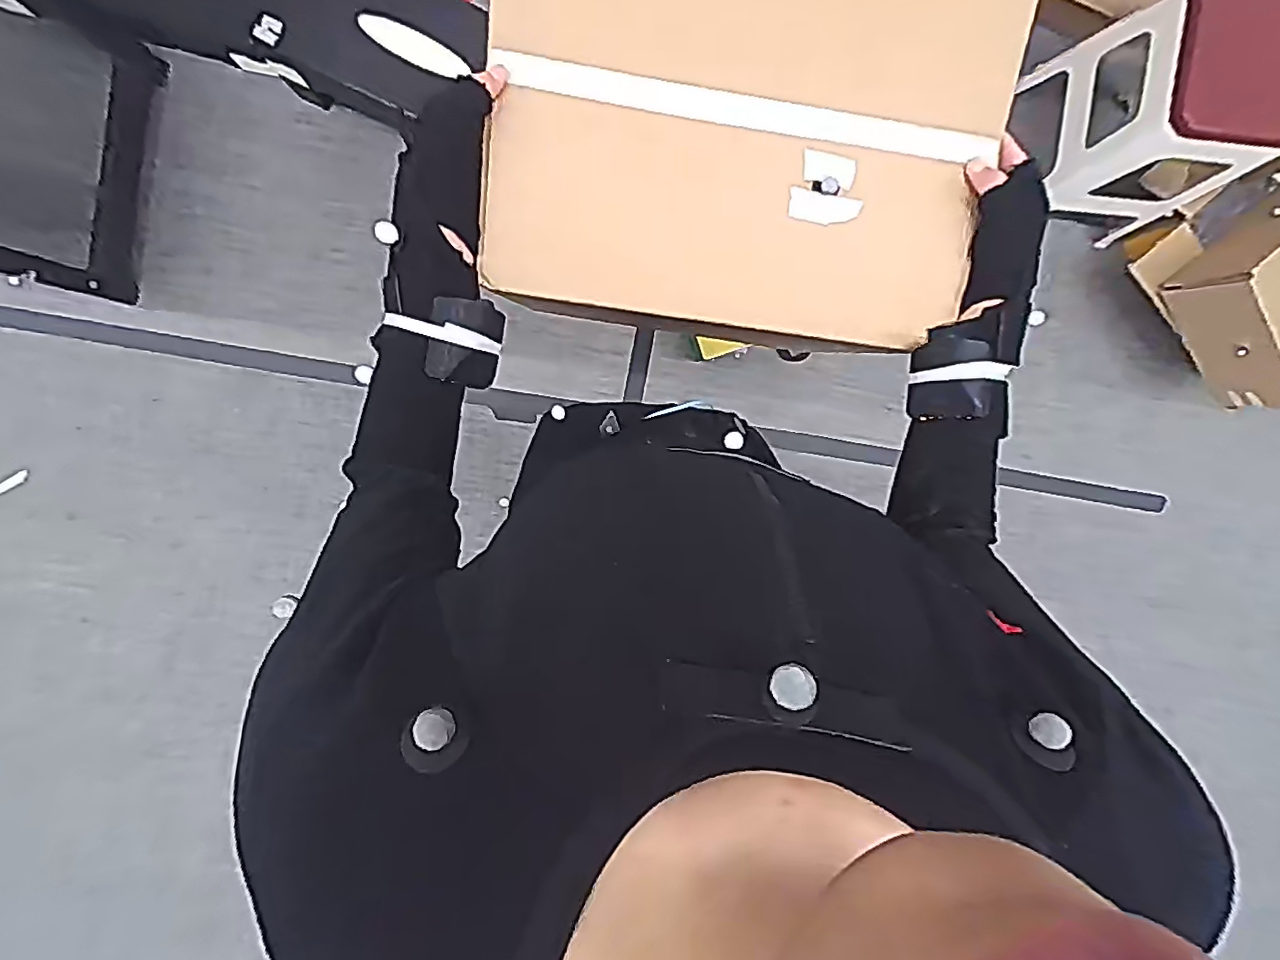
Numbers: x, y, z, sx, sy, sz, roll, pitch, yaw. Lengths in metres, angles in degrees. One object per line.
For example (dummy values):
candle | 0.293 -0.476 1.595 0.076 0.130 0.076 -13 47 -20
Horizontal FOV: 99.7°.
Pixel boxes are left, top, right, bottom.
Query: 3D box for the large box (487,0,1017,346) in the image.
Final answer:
large box | 0.074 -0.324 0.576 0.408 0.320 0.320 7 105 -6
